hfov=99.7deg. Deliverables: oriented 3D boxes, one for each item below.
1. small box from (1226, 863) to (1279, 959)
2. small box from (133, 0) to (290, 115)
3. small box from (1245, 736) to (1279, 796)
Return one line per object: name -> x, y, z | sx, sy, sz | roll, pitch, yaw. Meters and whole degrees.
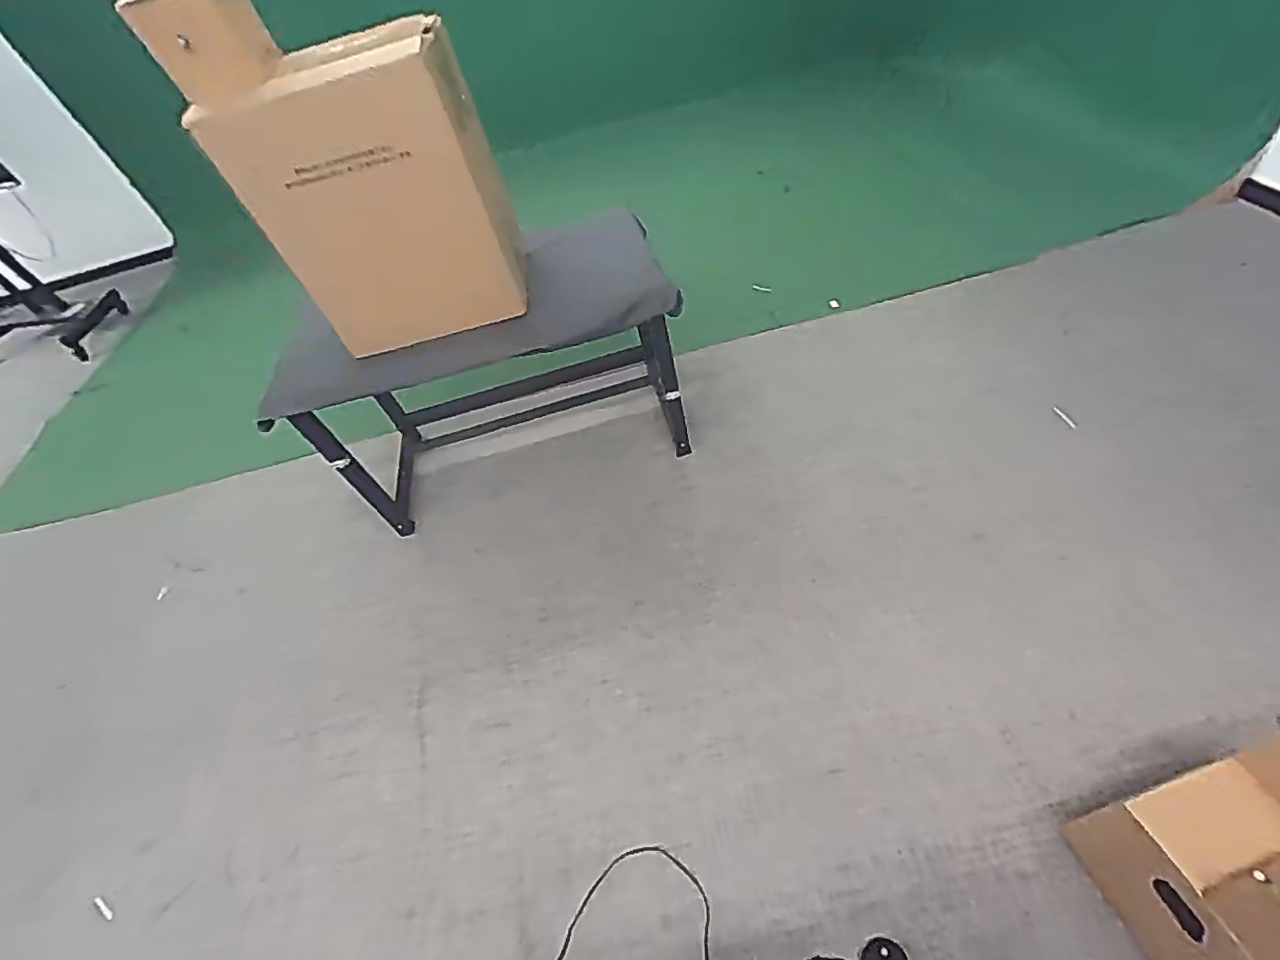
small box -> 1.001, 0.645, 0.756 | 0.179, 0.176, 0.168 | -22, 52, -6
small box -> -0.898, -0.915, 1.150 | 0.179, 0.176, 0.168 | -14, 57, 4
small box -> 1.158, 0.477, 0.856 | 0.168, 0.176, 0.179 | -19, 45, -2
